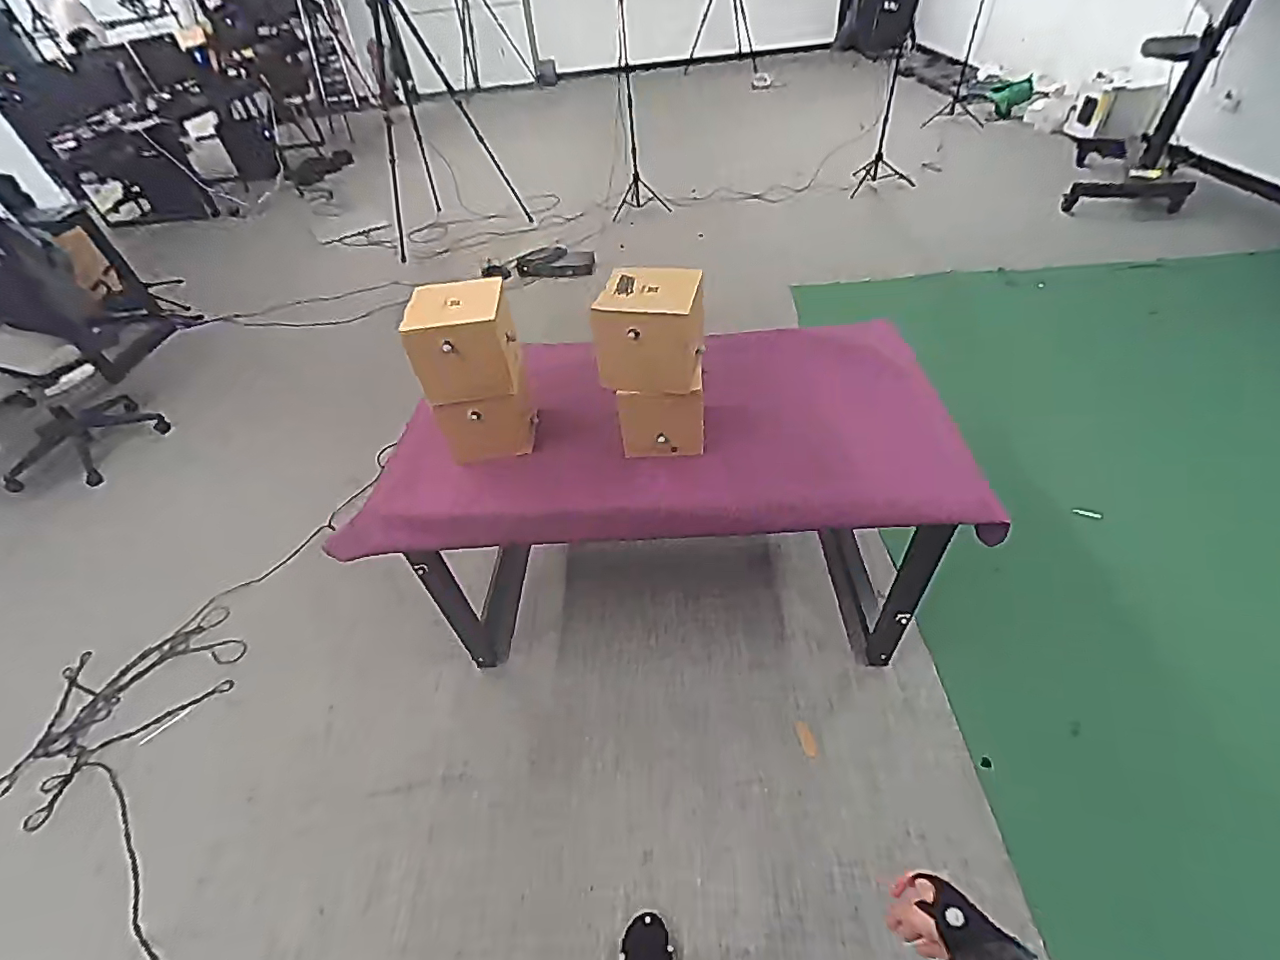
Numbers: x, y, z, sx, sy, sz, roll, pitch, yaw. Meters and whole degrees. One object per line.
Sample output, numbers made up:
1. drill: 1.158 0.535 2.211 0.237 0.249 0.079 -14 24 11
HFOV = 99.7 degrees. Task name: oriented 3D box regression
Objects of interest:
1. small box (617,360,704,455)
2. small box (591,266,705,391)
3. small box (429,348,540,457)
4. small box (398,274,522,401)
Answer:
1. small box: 0.048 -0.171 1.132 0.168 0.176 0.179 -1 46 6
2. small box: 0.024 -0.284 1.014 0.179 0.176 0.168 7 47 13
3. small box: -0.327 -0.165 1.172 0.179 0.176 0.168 -5 46 1
4. small box: -0.336 -0.275 1.053 0.179 0.176 0.168 -7 47 0
